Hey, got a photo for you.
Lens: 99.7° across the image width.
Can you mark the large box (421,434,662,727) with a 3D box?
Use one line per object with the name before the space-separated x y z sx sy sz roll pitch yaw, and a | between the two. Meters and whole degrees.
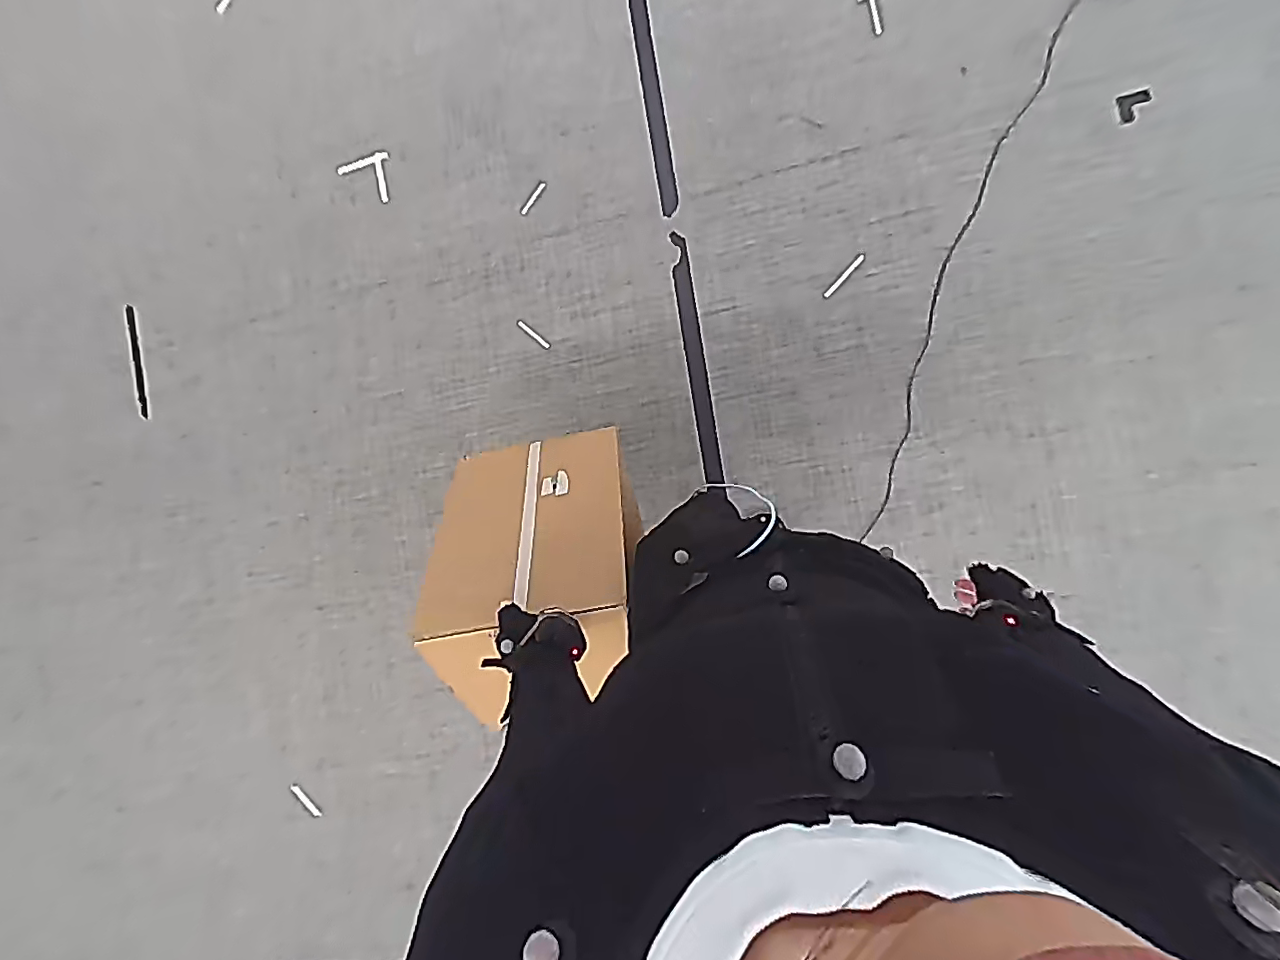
large box | -0.154 0.178 1.008 0.320 0.408 0.320 -11 131 4
